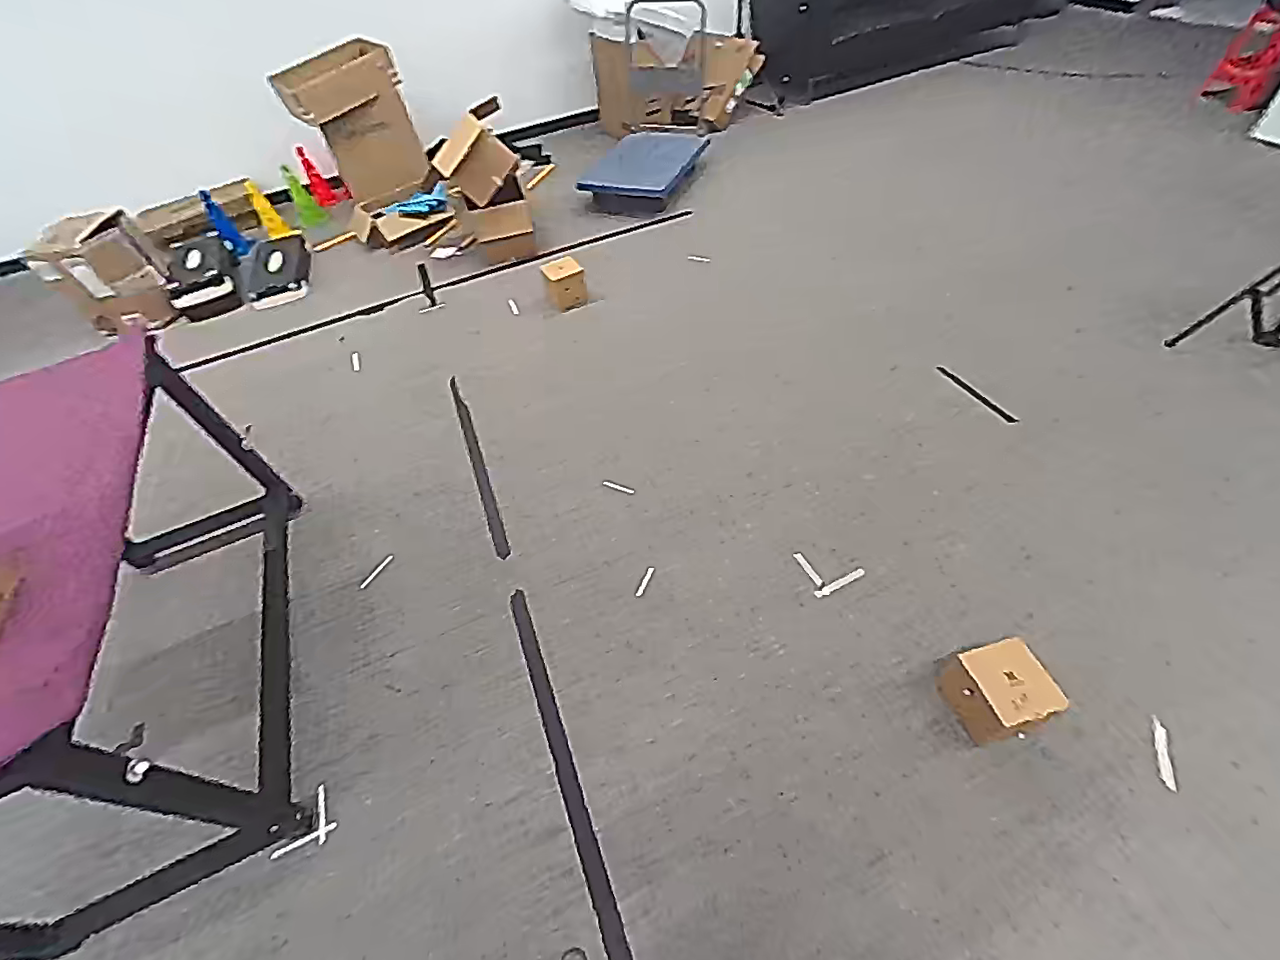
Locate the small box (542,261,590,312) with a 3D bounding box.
[{"bbox_3d":[-0.368,-0.966,2.719,0.168,0.176,0.179,-27,51,-15],"label":"small box"}]

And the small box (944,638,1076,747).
[{"bbox_3d":[0.872,0.513,1.299,0.168,0.176,0.179,-15,50,-4],"label":"small box"}]
